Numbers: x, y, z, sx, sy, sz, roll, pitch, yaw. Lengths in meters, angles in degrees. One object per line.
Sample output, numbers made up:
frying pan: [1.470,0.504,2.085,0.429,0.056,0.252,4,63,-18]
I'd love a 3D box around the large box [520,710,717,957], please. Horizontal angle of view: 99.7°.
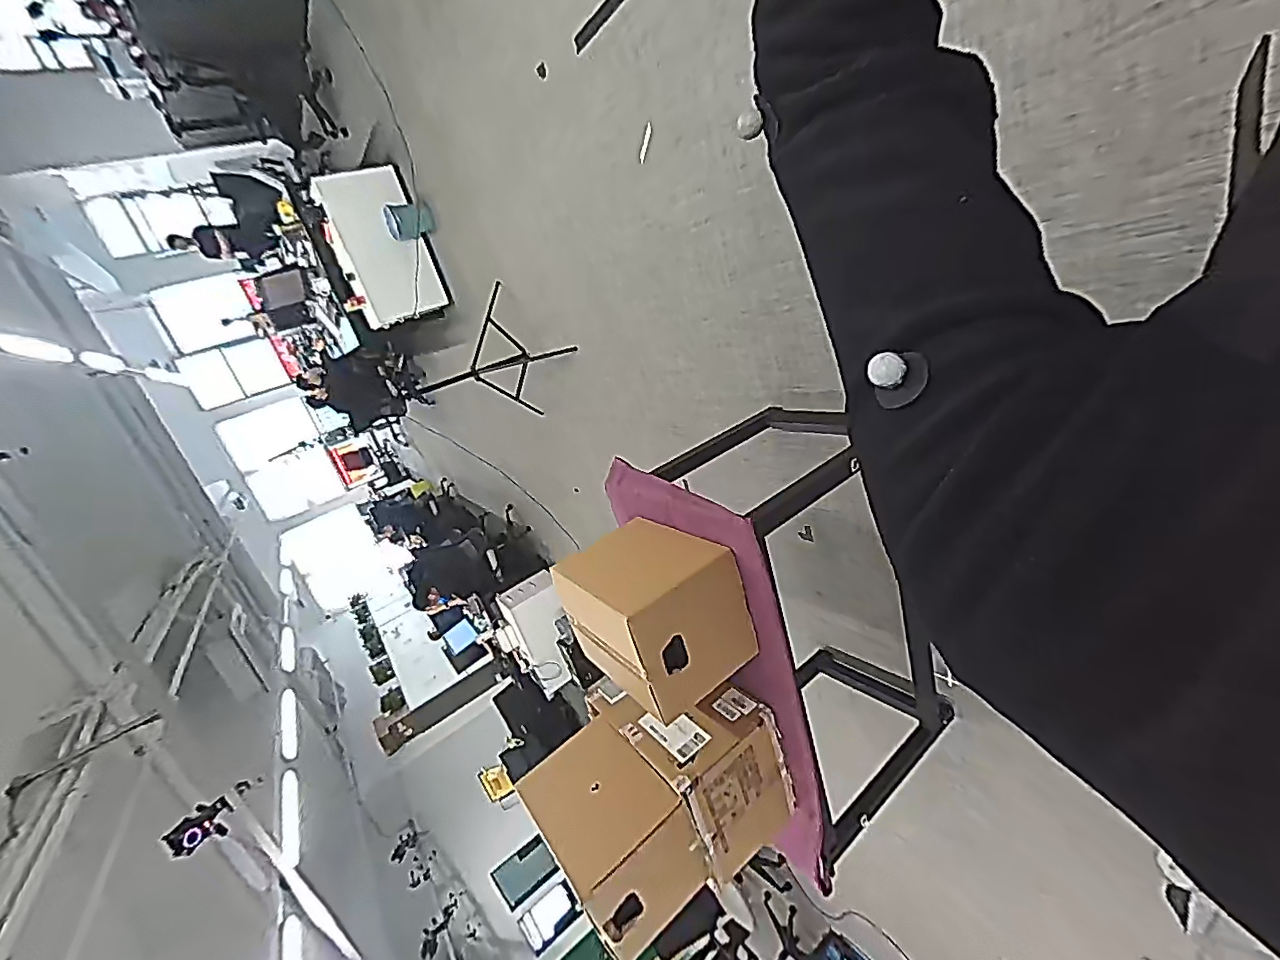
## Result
large box: [-0.064,0.915,1.463,0.408,0.320,0.320,16,133,55]
